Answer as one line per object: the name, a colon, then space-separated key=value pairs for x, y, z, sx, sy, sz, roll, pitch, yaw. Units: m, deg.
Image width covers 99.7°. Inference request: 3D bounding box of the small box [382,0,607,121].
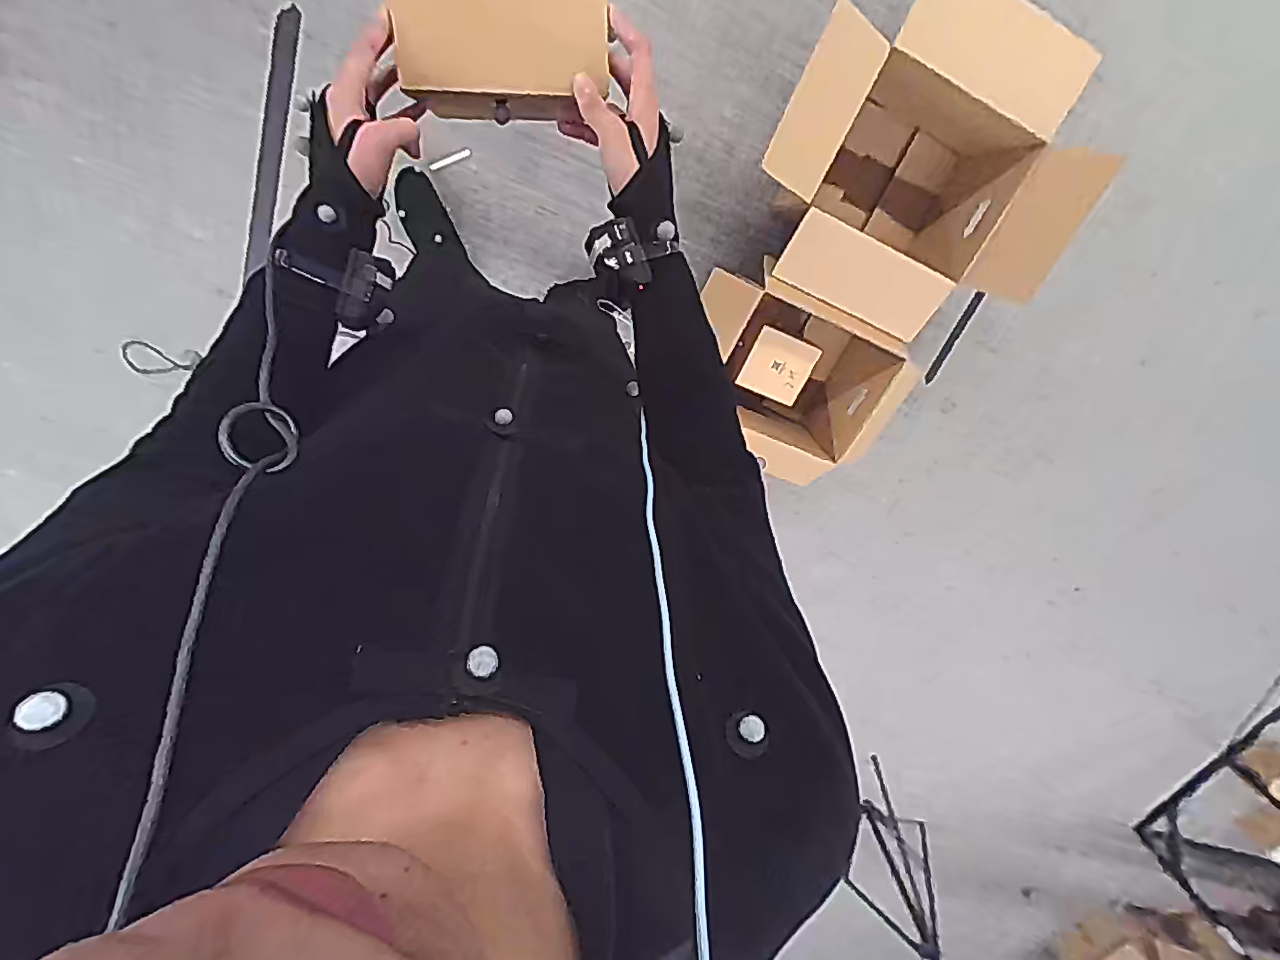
small box: x=-0.124 y=-0.433 z=0.486 sx=0.179 sy=0.176 sz=0.168 roll=-3 pitch=118 yaw=-6
